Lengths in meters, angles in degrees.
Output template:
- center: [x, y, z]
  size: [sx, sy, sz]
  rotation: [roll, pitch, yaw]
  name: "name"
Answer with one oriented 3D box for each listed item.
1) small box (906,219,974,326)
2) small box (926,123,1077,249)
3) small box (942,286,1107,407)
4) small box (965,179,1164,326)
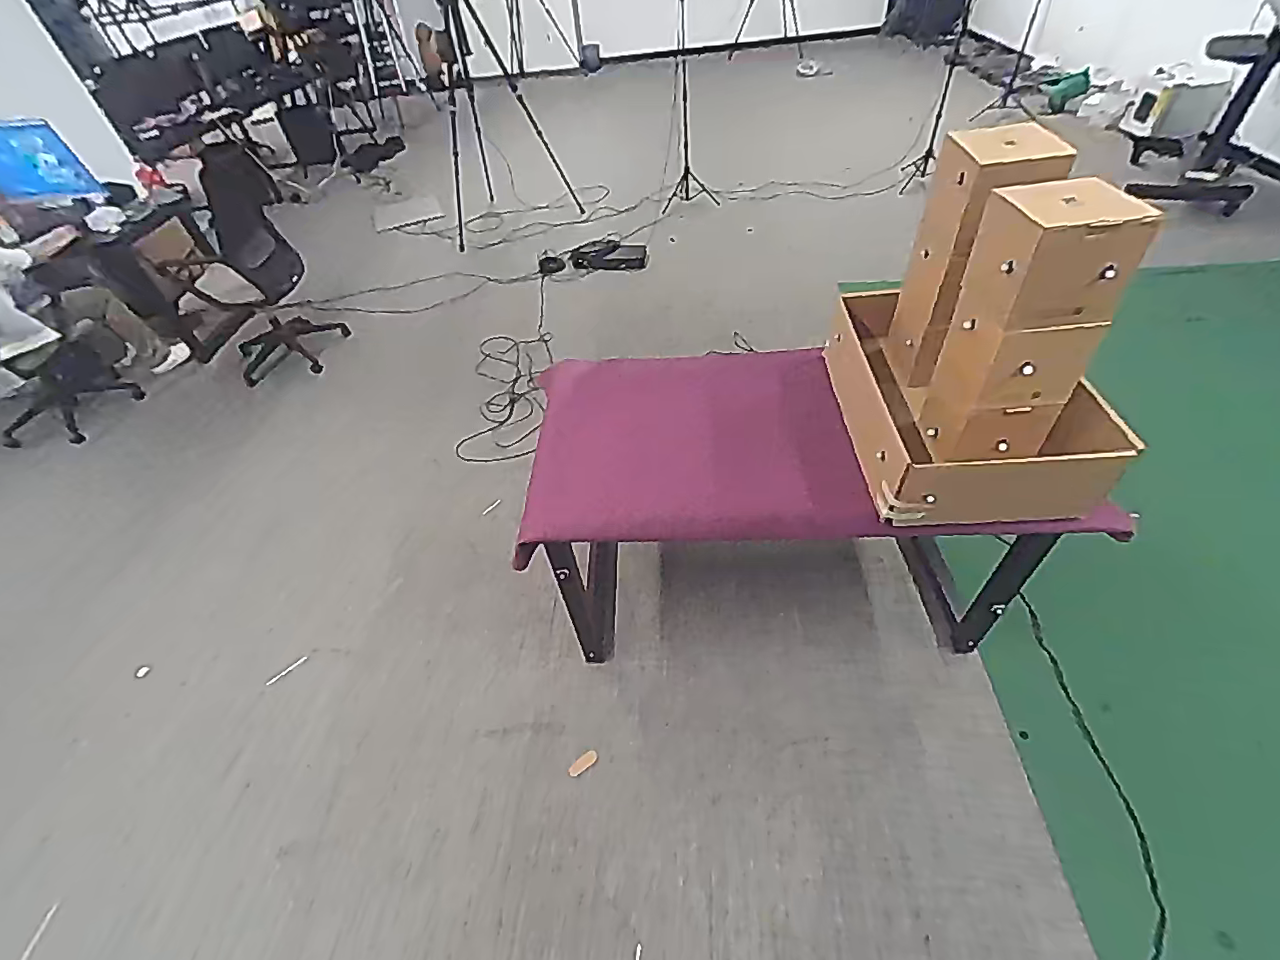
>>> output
- center: [0.705, -0.458, 1.180]
  size: [0.168, 0.176, 0.179]
  rotation: [-4, 48, 5]
  name: "small box"
- center: [0.688, -0.565, 1.055]
  size: [0.168, 0.176, 0.179]
  rotation: [-3, 48, 5]
  name: "small box"
- center: [0.687, -0.247, 0.992]
  size: [0.168, 0.176, 0.179]
  rotation: [-4, 45, 6]
  name: "small box"
- center: [0.667, -0.363, 0.879]
  size: [0.168, 0.176, 0.179]
  rotation: [-4, 45, 5]
  name: "small box"
